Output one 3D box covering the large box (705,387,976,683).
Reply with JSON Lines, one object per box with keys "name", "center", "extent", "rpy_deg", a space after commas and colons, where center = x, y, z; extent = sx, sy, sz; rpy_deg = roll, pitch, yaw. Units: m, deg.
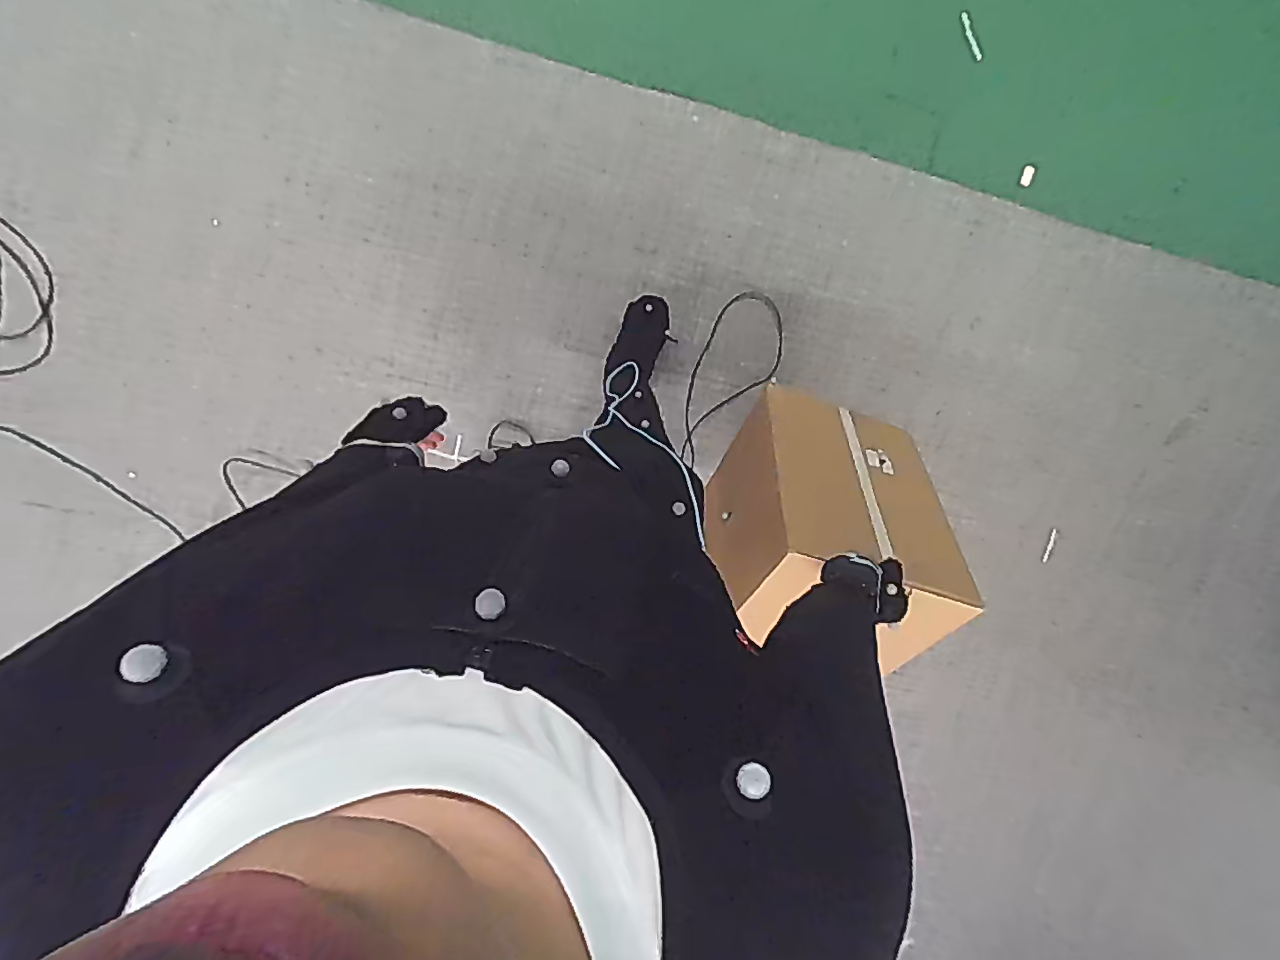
{"name": "large box", "center": [0.317, 0.101, 1.004], "extent": [0.320, 0.408, 0.320], "rpy_deg": [18, 132, -9]}
